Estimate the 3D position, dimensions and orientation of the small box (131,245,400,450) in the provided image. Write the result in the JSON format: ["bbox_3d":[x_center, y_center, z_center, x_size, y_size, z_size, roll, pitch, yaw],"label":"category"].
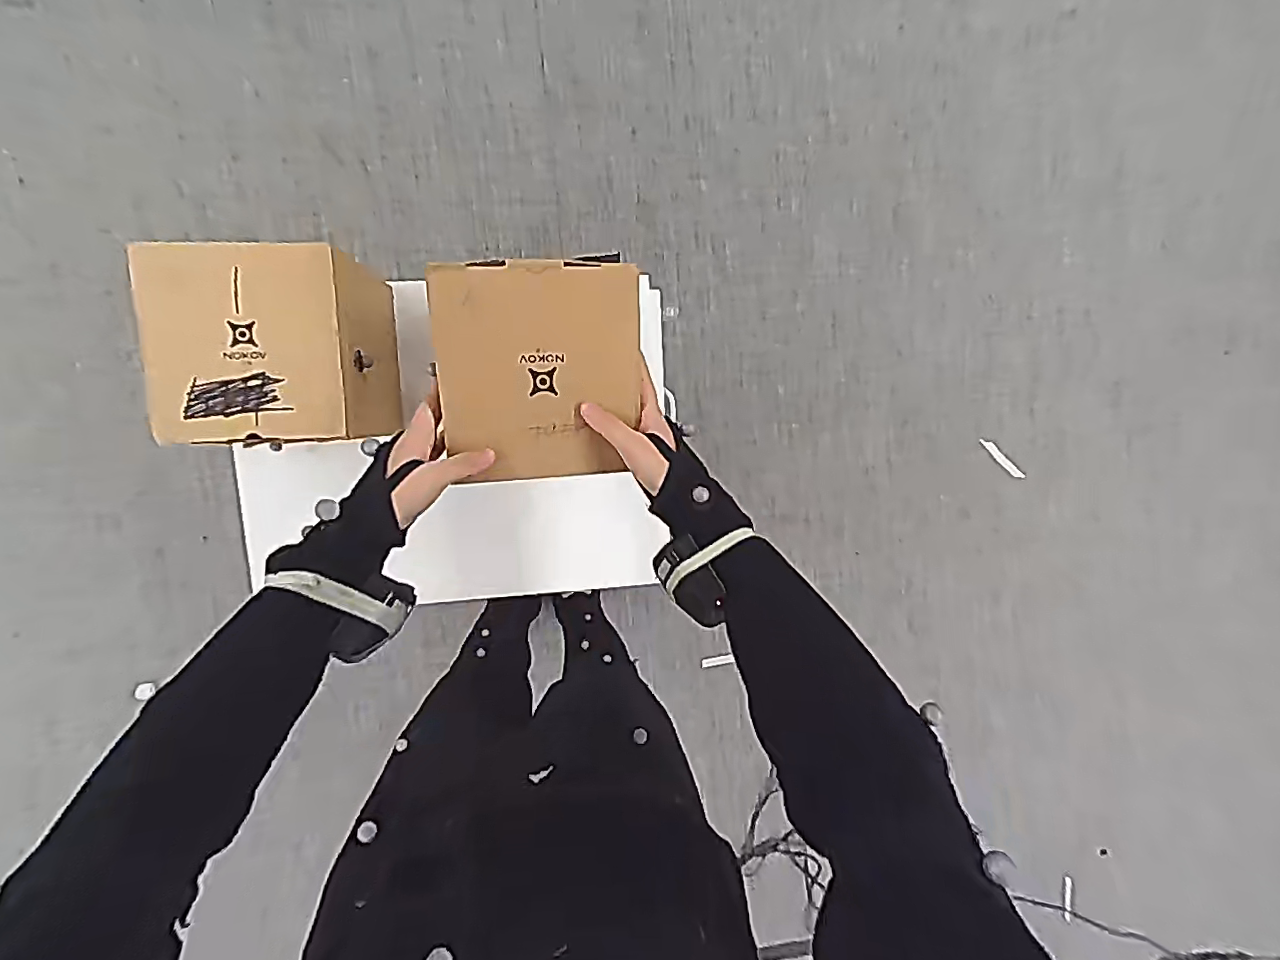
[{"bbox_3d":[-0.359,-0.125,0.556,0.168,0.176,0.179,-2,96,-7],"label":"small box"}]

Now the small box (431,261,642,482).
[{"bbox_3d":[-0.095,-0.109,0.520,0.168,0.176,0.179,-5,109,-11],"label":"small box"}]
